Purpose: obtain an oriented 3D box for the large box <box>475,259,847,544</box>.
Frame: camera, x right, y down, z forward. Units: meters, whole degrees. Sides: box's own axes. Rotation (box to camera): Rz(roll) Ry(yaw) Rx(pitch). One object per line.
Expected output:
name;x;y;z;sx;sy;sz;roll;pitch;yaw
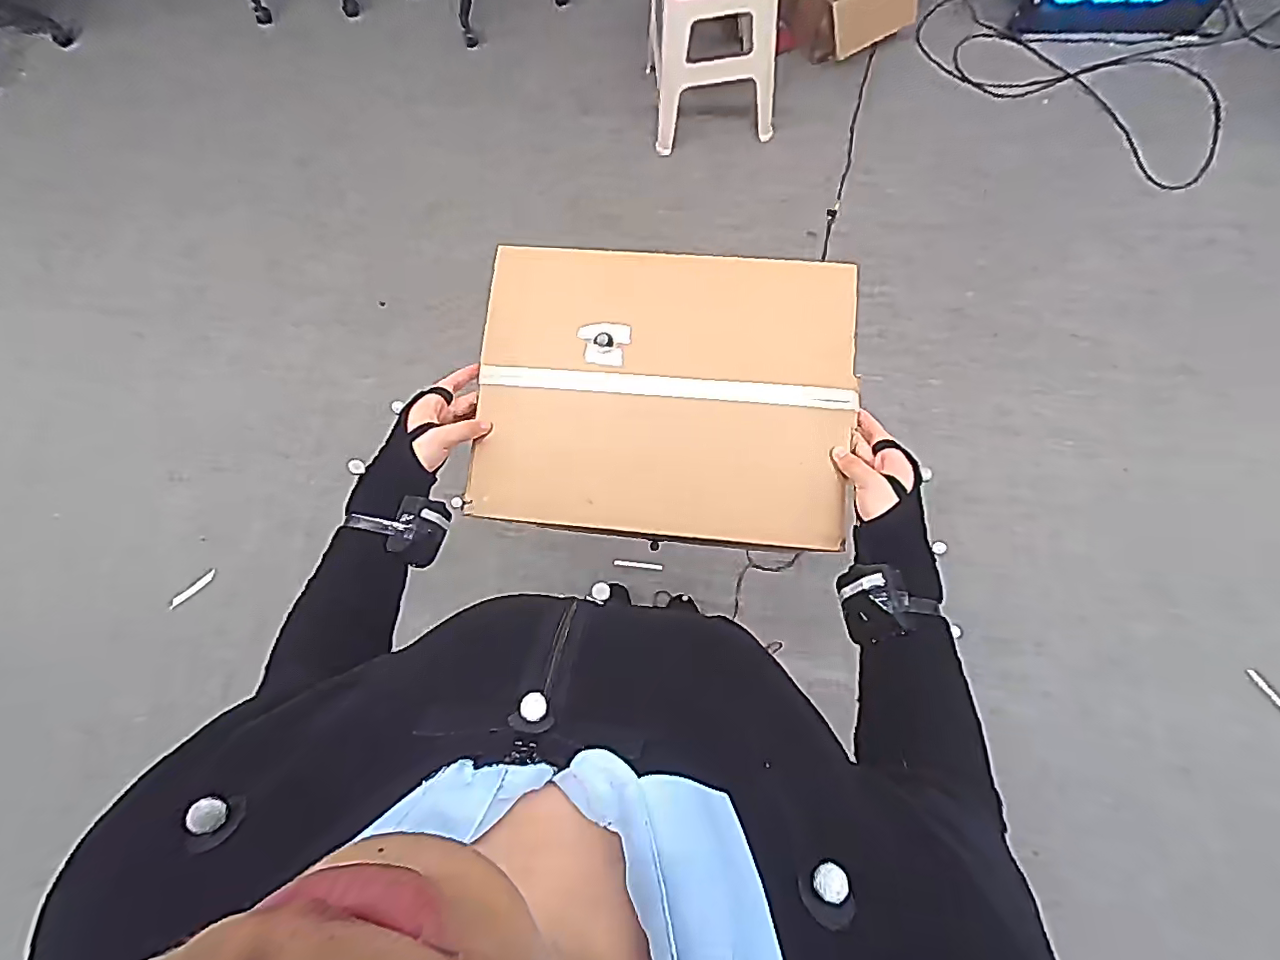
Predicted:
large box;0.038;-0.079;0.746;0.408;0.320;0.320;4;81;5
